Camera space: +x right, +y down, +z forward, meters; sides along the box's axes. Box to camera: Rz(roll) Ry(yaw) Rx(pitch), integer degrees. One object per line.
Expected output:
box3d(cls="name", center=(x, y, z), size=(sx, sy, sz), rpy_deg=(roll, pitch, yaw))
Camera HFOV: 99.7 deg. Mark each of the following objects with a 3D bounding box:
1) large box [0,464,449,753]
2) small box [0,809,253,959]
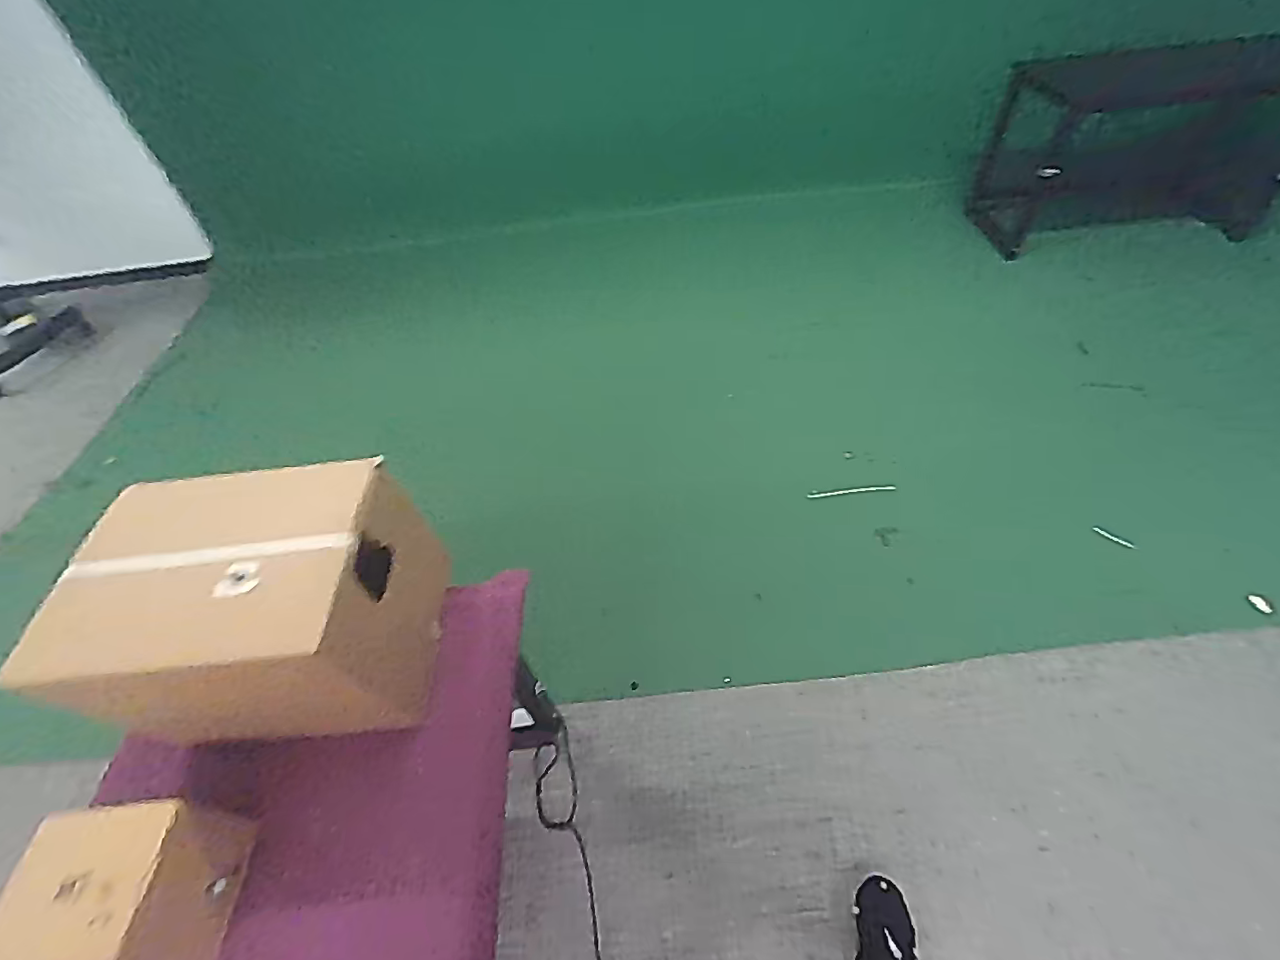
box3d(cls="large box", center=(-0.569, 0.209, 0.851), size=(0.408, 0.320, 0.320), rpy_deg=(-6, 51, 1))
box3d(cls="small box", center=(-0.647, 0.529, 0.678), size=(0.179, 0.176, 0.168), rpy_deg=(-6, 50, 0))
